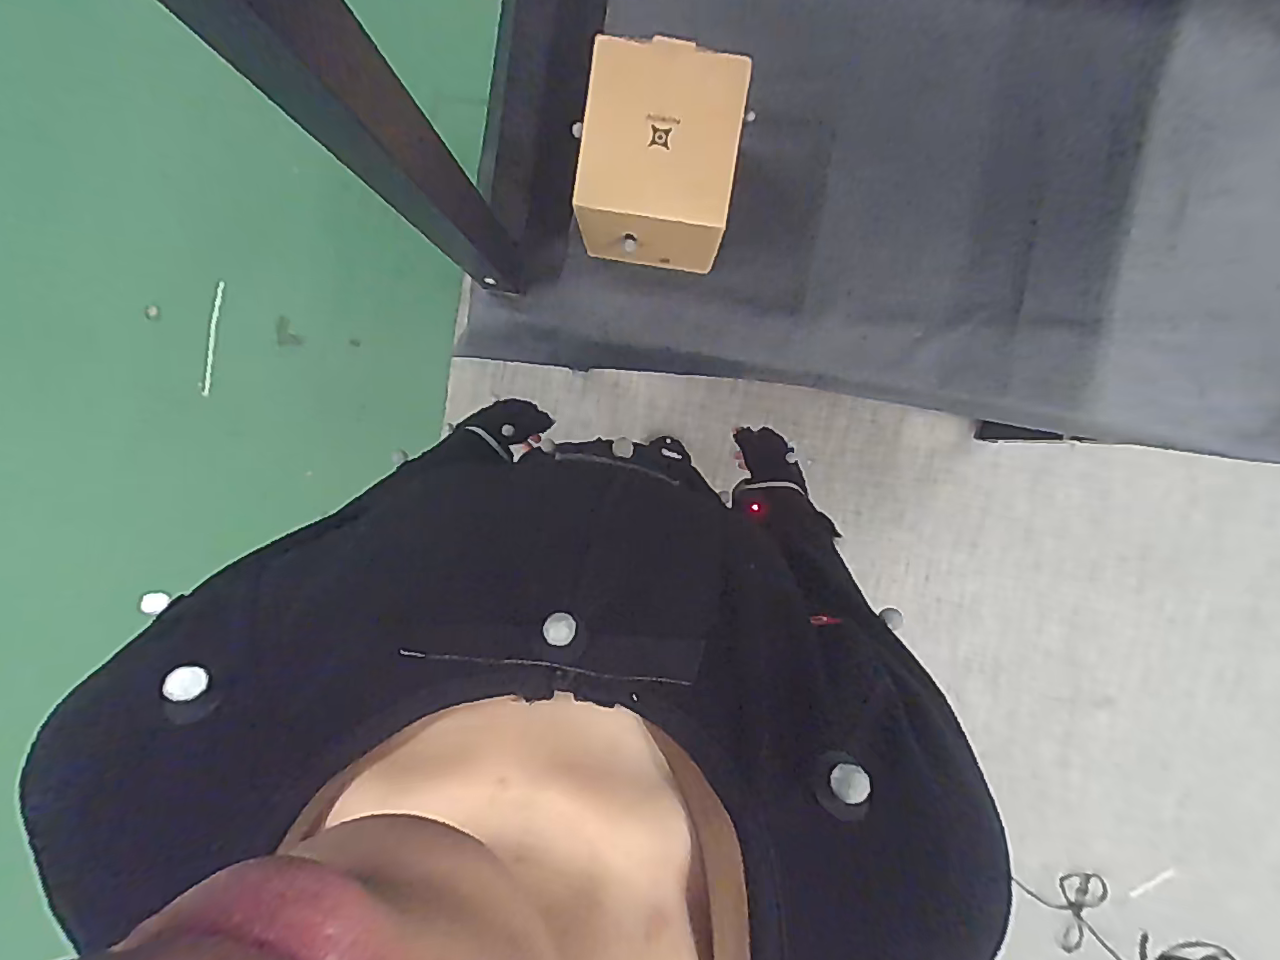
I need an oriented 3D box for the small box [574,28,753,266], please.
[{"bbox_3d":[0.025,-0.370,0.636,0.168,0.176,0.179,8,94,0],"label":"small box"}]
